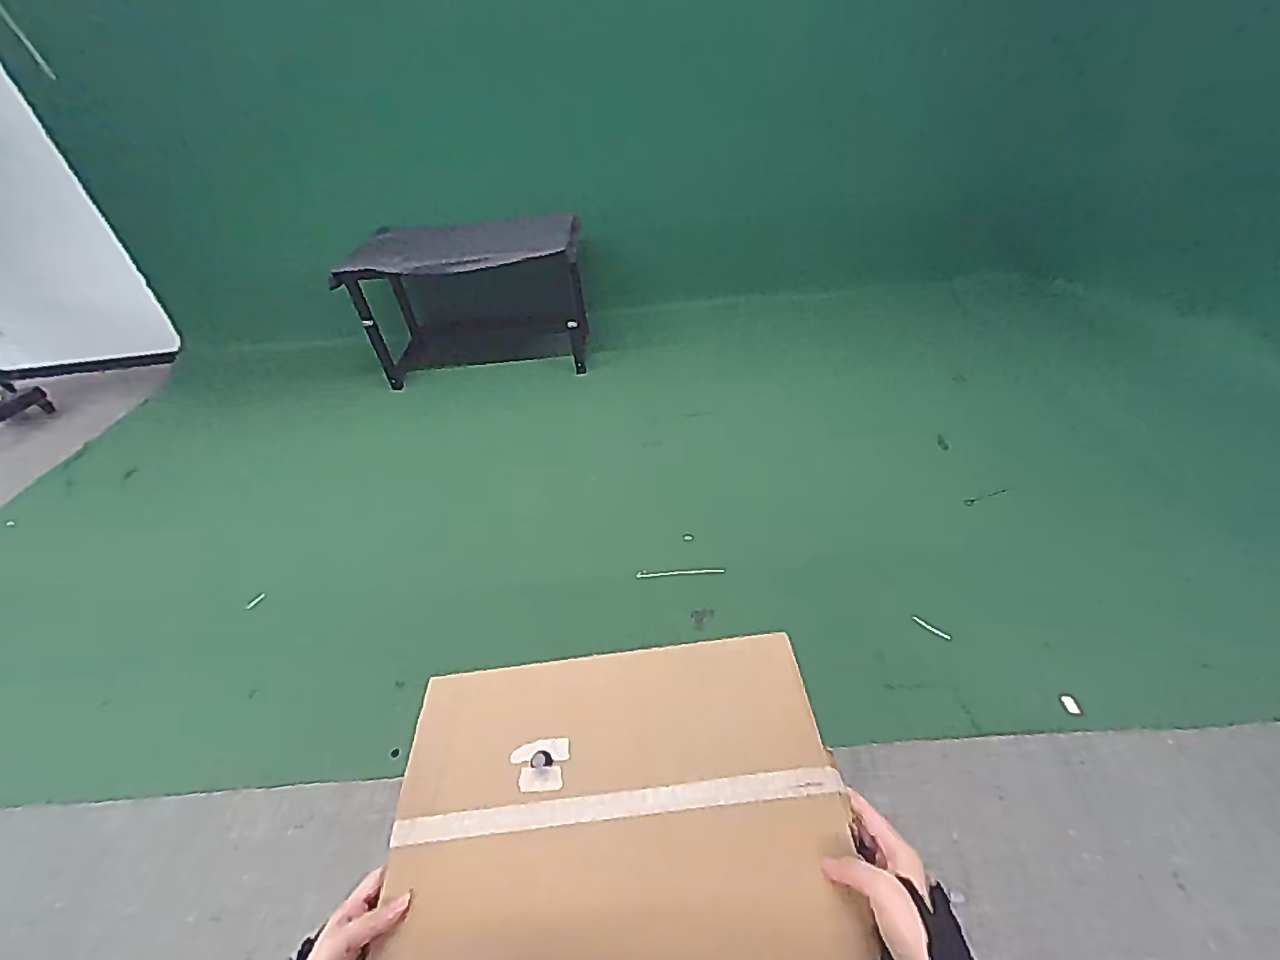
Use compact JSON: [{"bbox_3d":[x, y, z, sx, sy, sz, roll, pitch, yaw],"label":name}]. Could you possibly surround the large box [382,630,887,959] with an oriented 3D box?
[{"bbox_3d":[0.000,0.410,0.600,0.408,0.320,0.320,-10,41,3],"label":"large box"}]
